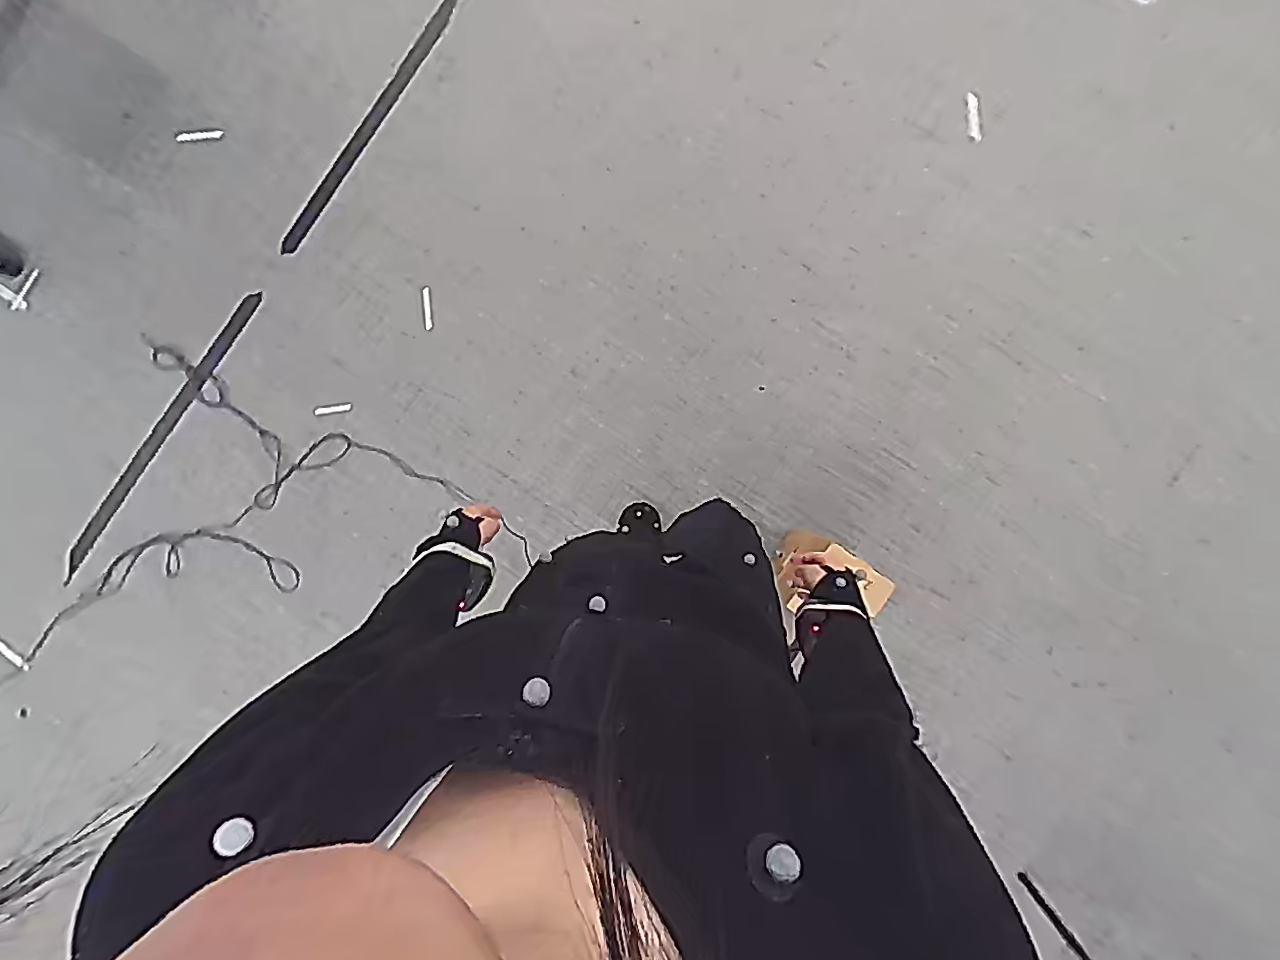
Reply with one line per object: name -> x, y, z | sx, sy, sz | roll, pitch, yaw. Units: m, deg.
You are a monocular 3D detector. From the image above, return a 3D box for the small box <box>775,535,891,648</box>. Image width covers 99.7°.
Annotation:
small box -> 0.426, 0.244, 1.232 | 0.168, 0.176, 0.179 | 35, 91, 2

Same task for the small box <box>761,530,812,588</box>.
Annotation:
small box -> 0.434, 0.242, 1.398 | 0.179, 0.176, 0.168 | 36, 92, 3
